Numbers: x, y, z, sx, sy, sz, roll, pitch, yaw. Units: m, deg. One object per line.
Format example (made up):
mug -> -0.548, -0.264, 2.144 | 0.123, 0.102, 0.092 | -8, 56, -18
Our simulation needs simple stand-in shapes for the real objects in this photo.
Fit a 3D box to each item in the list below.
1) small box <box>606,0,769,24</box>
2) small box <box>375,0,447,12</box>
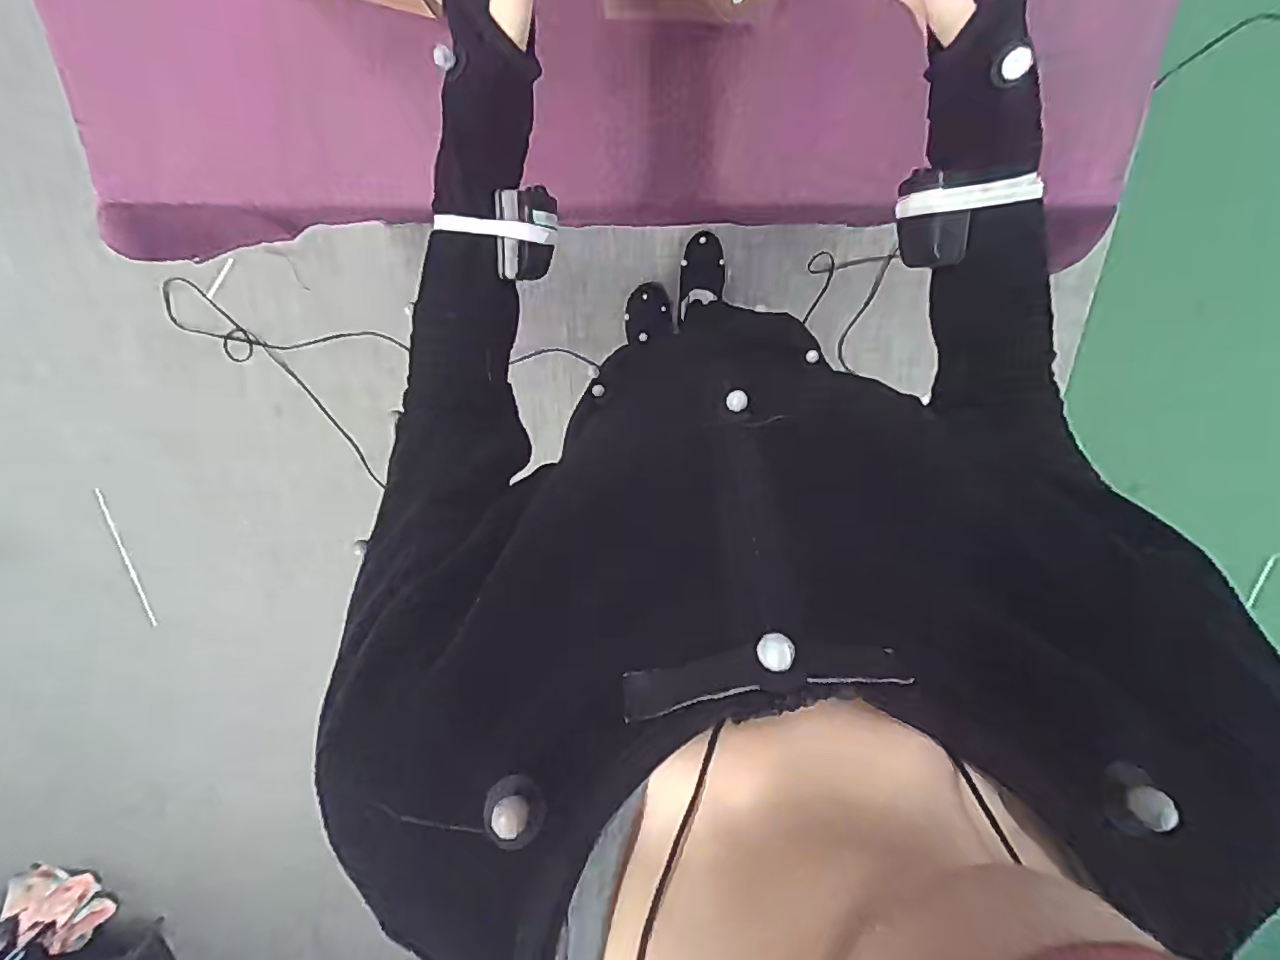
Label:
small box -> 0.052, -0.543, 0.481 | 0.179, 0.176, 0.168 | 3, 110, 0
small box -> -0.280, -0.563, 0.479 | 0.179, 0.176, 0.168 | 11, 111, -4
